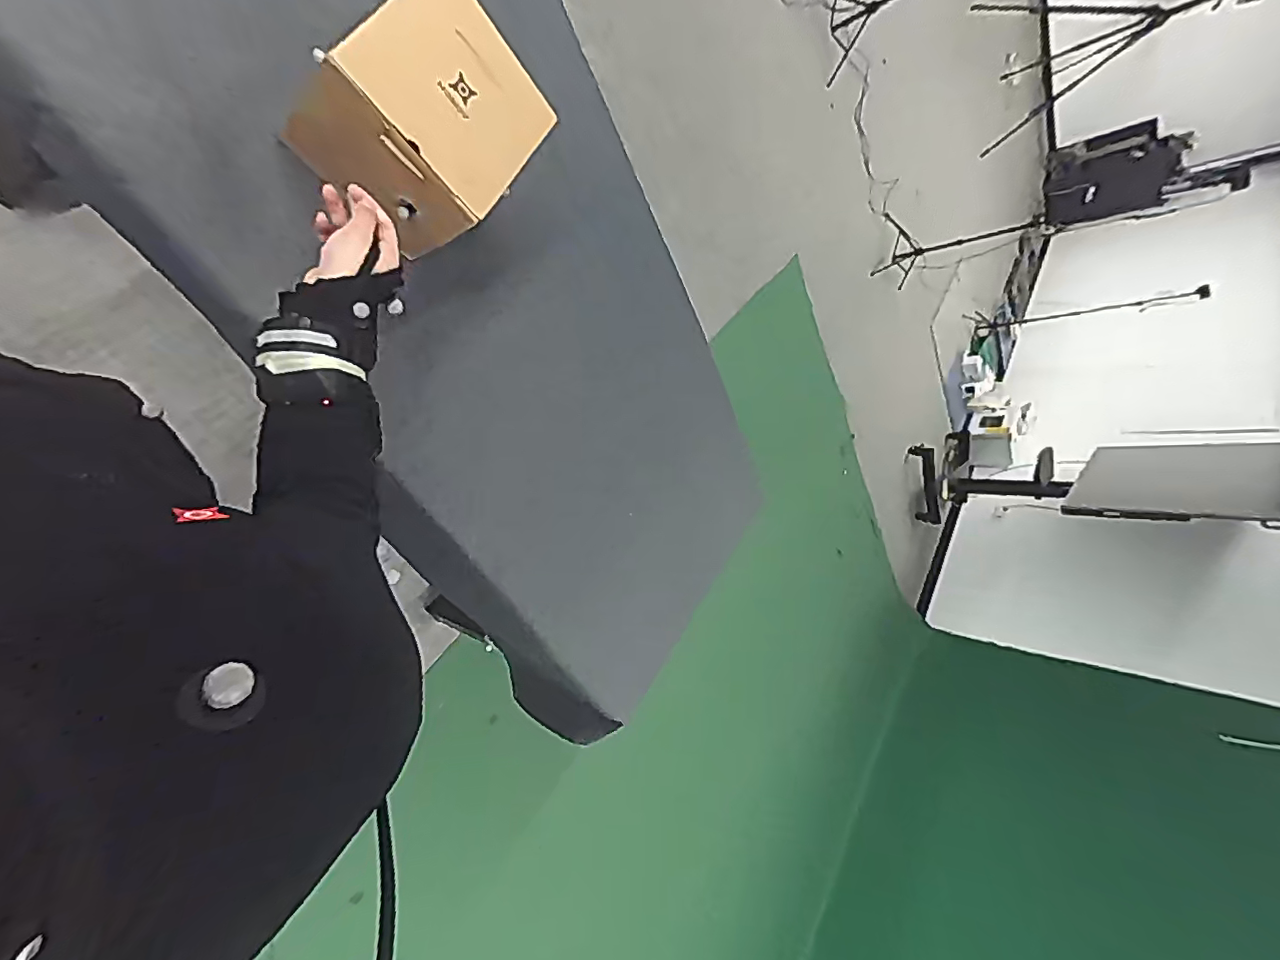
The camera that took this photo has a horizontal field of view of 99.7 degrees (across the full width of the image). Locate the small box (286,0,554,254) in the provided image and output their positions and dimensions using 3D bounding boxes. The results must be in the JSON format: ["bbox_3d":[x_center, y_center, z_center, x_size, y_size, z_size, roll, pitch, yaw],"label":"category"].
[{"bbox_3d":[-0.230,-0.368,0.562,0.168,0.176,0.179,44,61,-41],"label":"small box"}]
